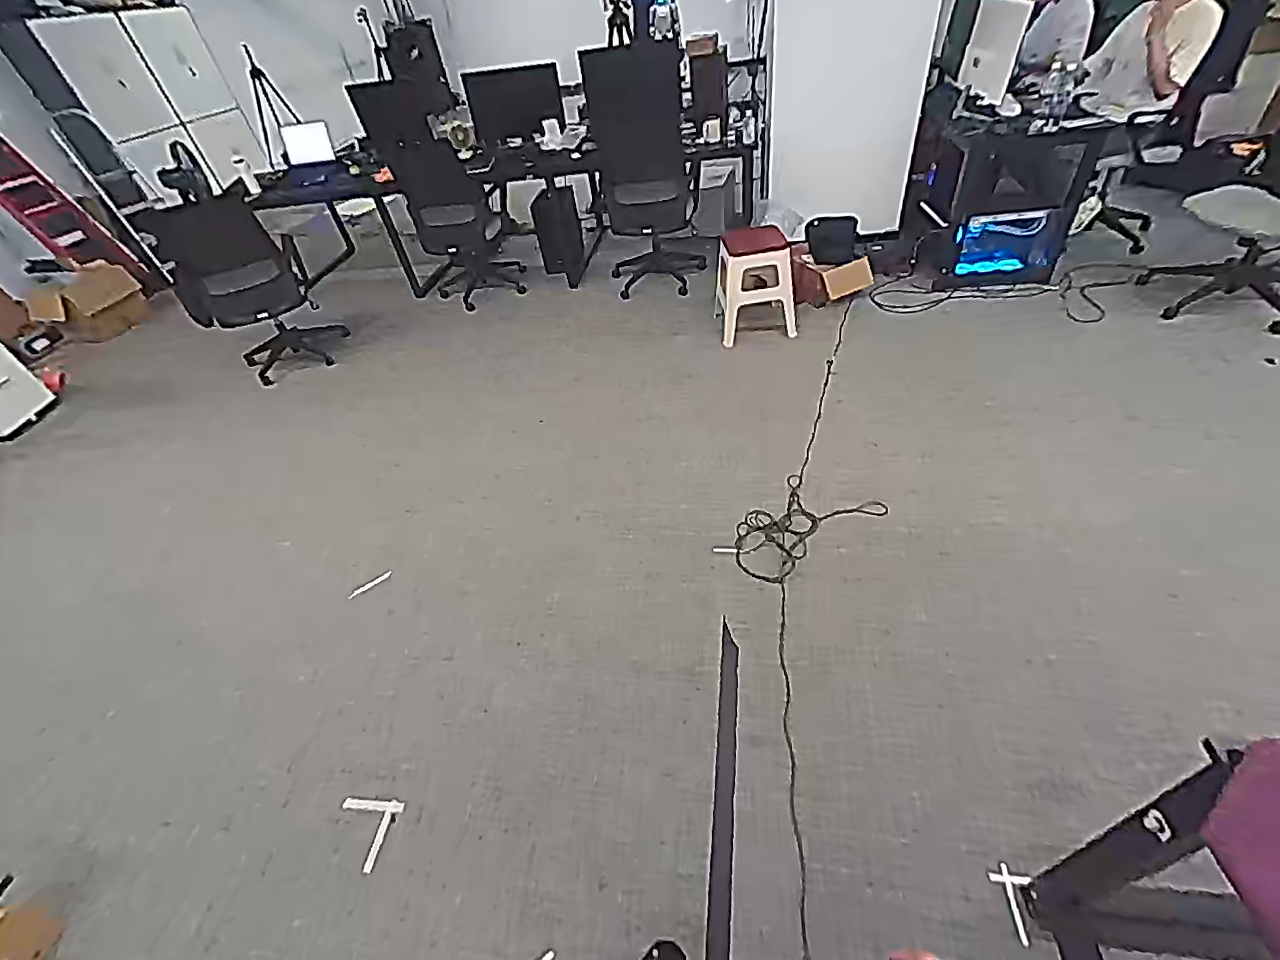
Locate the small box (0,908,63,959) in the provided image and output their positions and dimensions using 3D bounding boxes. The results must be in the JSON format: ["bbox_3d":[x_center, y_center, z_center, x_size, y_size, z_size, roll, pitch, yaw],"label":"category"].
[{"bbox_3d":[-1.506,1.089,1.230,0.179,0.176,0.168,1,44,13],"label":"small box"}]
